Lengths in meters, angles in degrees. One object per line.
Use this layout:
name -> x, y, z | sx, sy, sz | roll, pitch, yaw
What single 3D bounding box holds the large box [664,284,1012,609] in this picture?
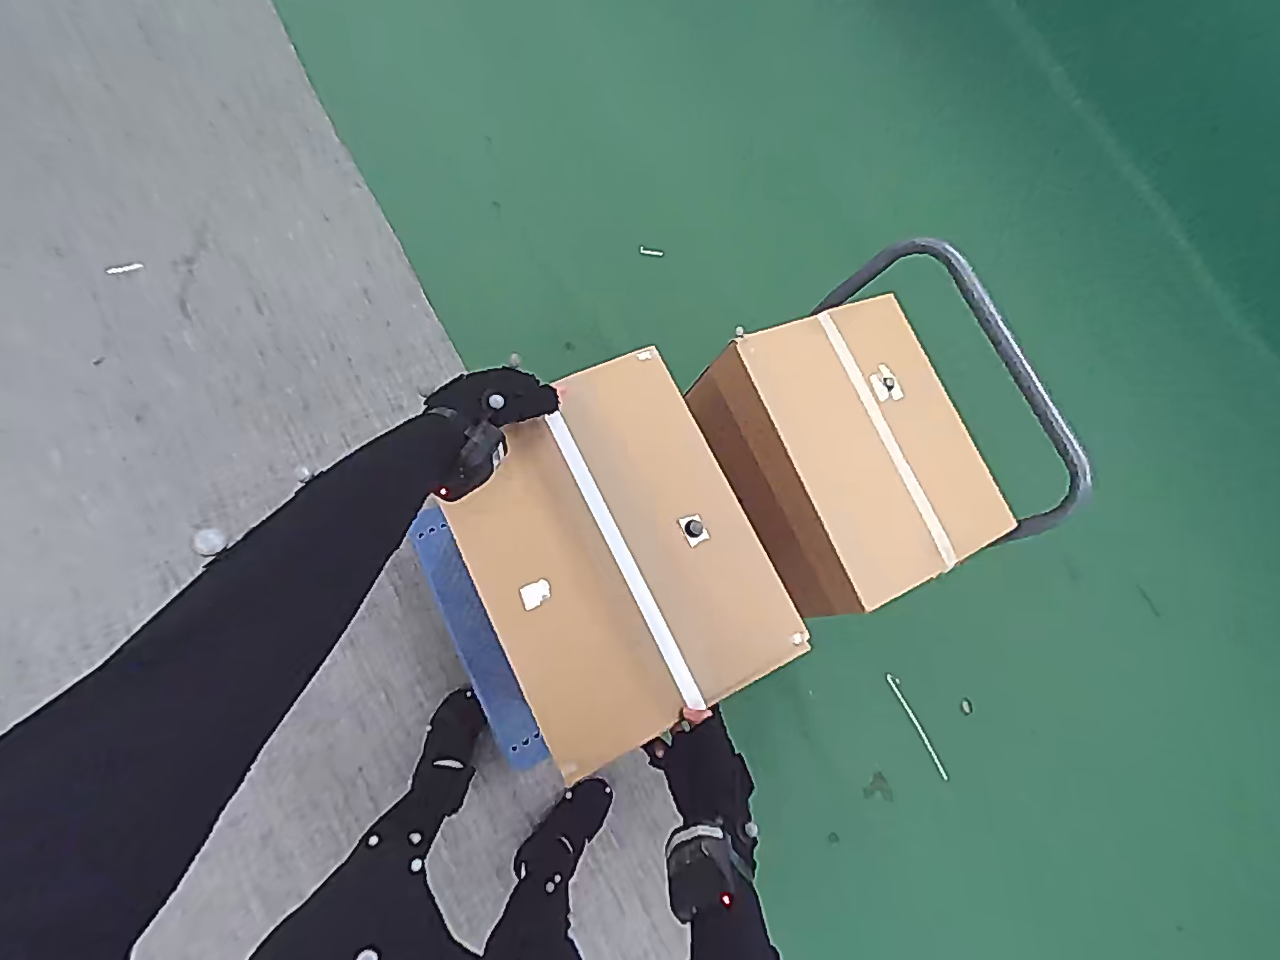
large box -> 0.290, -0.037, 0.898 | 0.320, 0.320, 0.408 | -21, 81, -20
